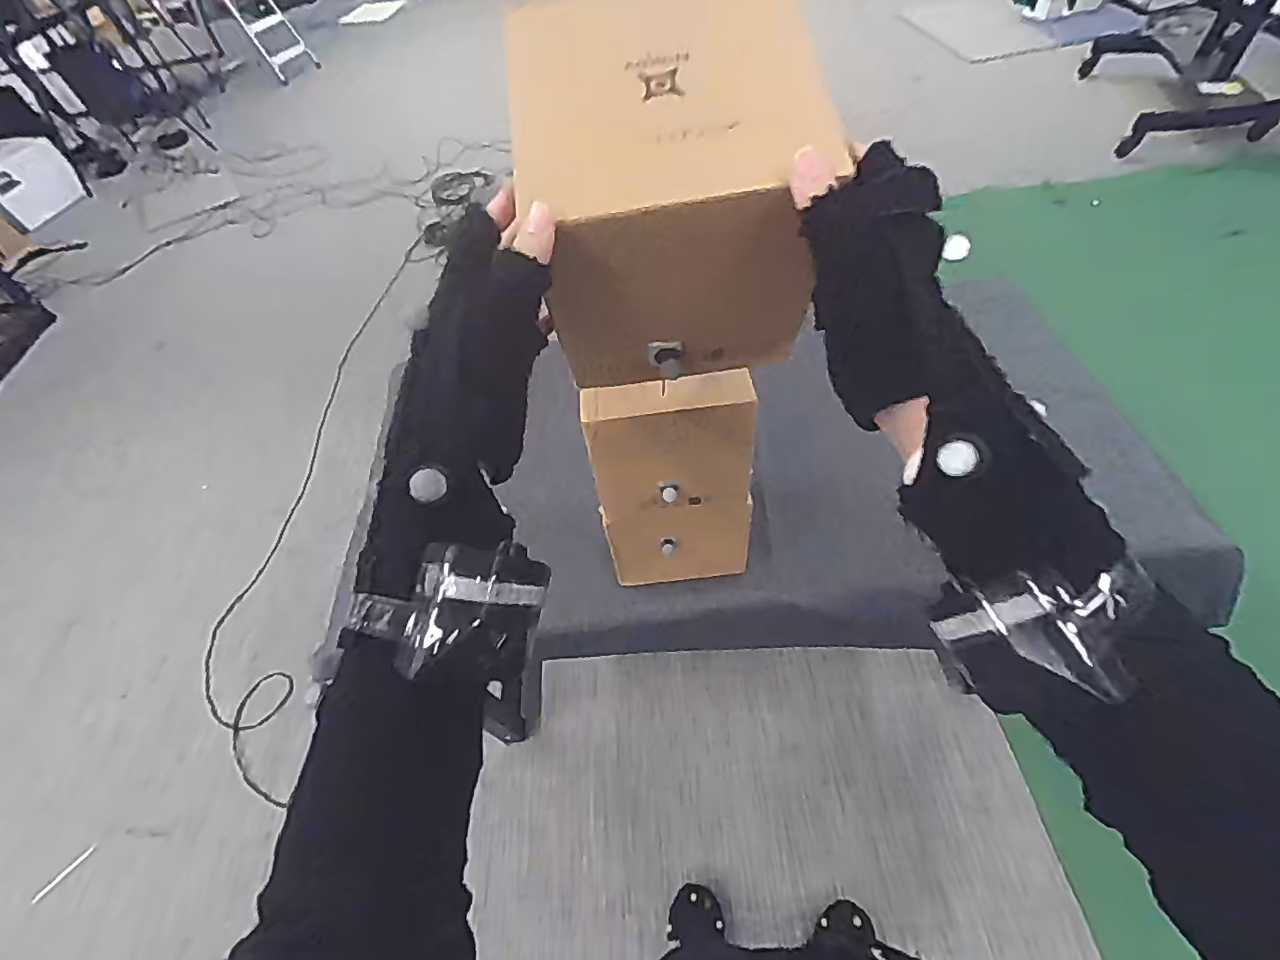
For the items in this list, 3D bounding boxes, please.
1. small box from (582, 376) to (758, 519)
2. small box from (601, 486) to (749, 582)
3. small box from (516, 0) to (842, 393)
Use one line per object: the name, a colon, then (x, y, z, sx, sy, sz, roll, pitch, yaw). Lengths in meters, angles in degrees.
small box: (0.031, -0.078, 0.611, 0.168, 0.176, 0.179, -6, 52, 2)
small box: (0.046, 0.027, 0.738, 0.179, 0.176, 0.168, -7, 52, 3)
small box: (0.017, -0.184, 0.374, 0.168, 0.176, 0.179, -8, 69, 2)
